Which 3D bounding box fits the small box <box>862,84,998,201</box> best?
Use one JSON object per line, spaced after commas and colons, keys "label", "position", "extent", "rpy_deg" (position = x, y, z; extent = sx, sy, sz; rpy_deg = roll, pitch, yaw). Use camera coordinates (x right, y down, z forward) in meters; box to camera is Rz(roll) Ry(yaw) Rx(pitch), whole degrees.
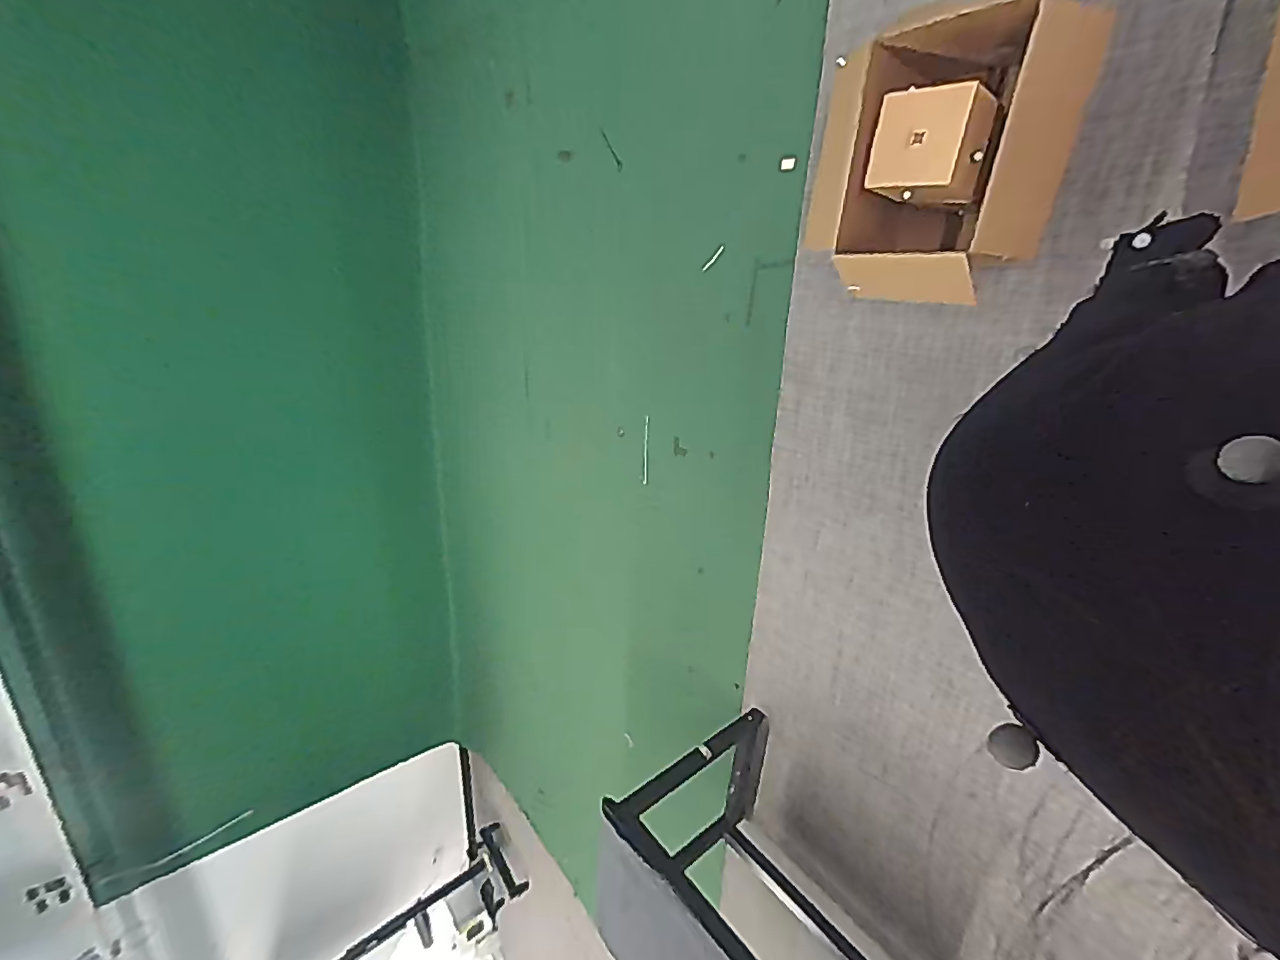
{"label": "small box", "position": [0.588, -0.671, 1.094], "extent": [0.179, 0.176, 0.168], "rpy_deg": [26, 119, 43]}
